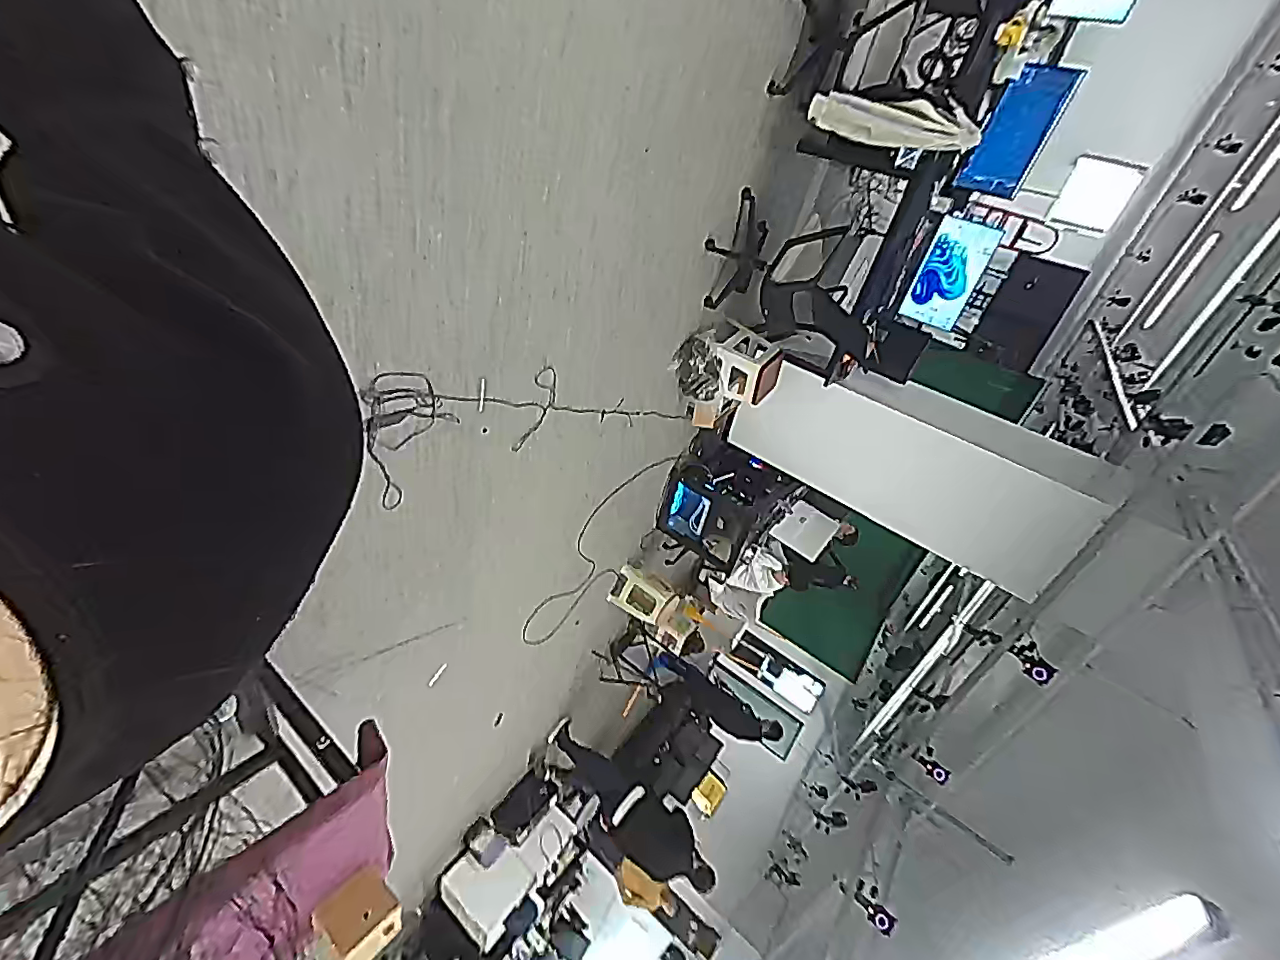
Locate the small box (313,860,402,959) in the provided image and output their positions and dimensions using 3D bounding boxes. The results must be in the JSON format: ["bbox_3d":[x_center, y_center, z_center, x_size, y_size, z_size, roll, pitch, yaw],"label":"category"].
[{"bbox_3d":[-0.832,1.280,1.594,0.179,0.176,0.168,-26,139,-50],"label":"small box"}]
